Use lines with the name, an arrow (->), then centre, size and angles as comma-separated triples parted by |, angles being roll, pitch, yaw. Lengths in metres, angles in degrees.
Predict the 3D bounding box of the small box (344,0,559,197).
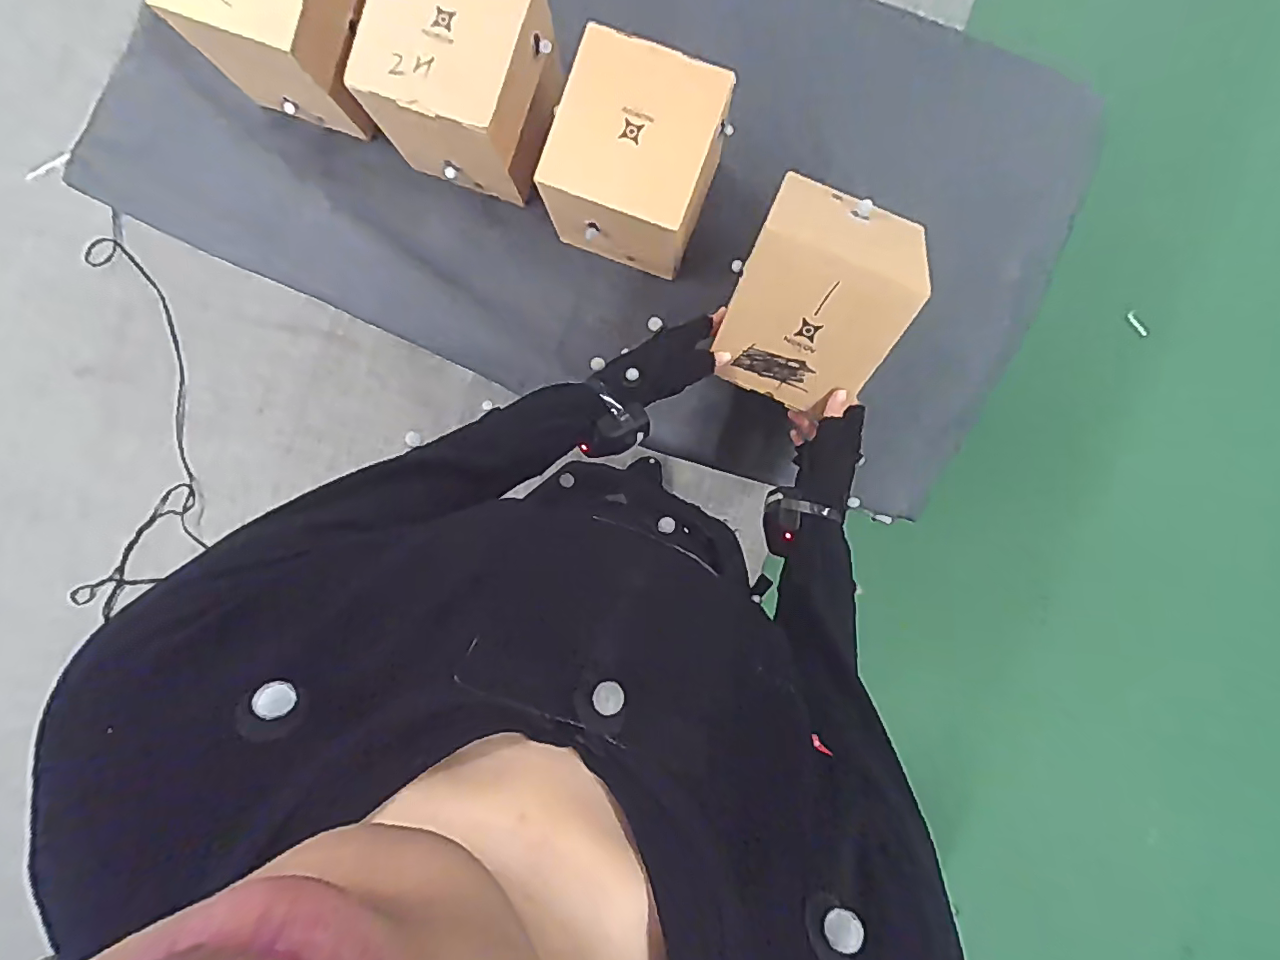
small box -> -0.205, -0.479, 0.640 | 0.168, 0.176, 0.179 | 19, 93, 0

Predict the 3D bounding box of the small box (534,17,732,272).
small box -> -0.006, -0.376, 0.643 | 0.168, 0.176, 0.179 | 20, 92, 0

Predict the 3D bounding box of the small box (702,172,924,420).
small box -> 0.190, -0.207, 0.608 | 0.168, 0.176, 0.179 | 23, 138, 0
